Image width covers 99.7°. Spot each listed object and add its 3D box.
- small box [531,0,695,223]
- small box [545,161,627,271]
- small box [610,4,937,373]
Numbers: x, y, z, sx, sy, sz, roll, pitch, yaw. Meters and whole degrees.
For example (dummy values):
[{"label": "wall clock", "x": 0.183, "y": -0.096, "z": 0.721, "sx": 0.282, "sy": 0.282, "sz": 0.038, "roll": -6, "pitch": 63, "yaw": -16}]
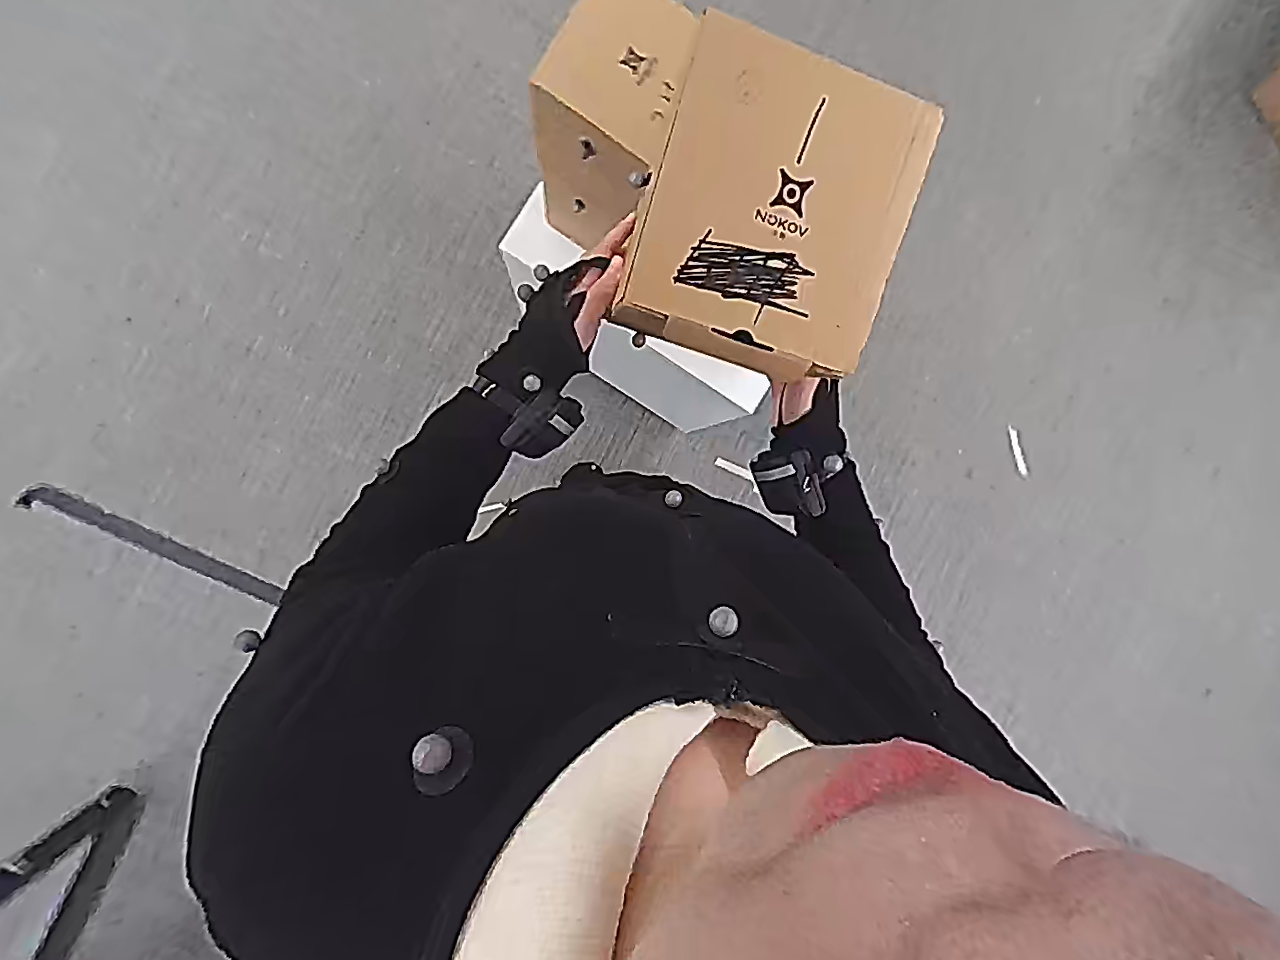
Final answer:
[{"label": "small box", "x": -0.011, "y": -0.444, "z": 0.655, "sx": 0.179, "sy": 0.176, "sz": 0.168, "roll": 33, "pitch": 88, "yaw": -7}, {"label": "small box", "x": -0.029, "y": -0.451, "z": 0.818, "sx": 0.168, "sy": 0.176, "sz": 0.179, "roll": 33, "pitch": 86, "yaw": -6}, {"label": "small box", "x": 0.077, "y": -0.191, "z": 0.417, "sx": 0.168, "sy": 0.176, "sz": 0.179, "roll": 15, "pitch": 99, "yaw": -10}]
